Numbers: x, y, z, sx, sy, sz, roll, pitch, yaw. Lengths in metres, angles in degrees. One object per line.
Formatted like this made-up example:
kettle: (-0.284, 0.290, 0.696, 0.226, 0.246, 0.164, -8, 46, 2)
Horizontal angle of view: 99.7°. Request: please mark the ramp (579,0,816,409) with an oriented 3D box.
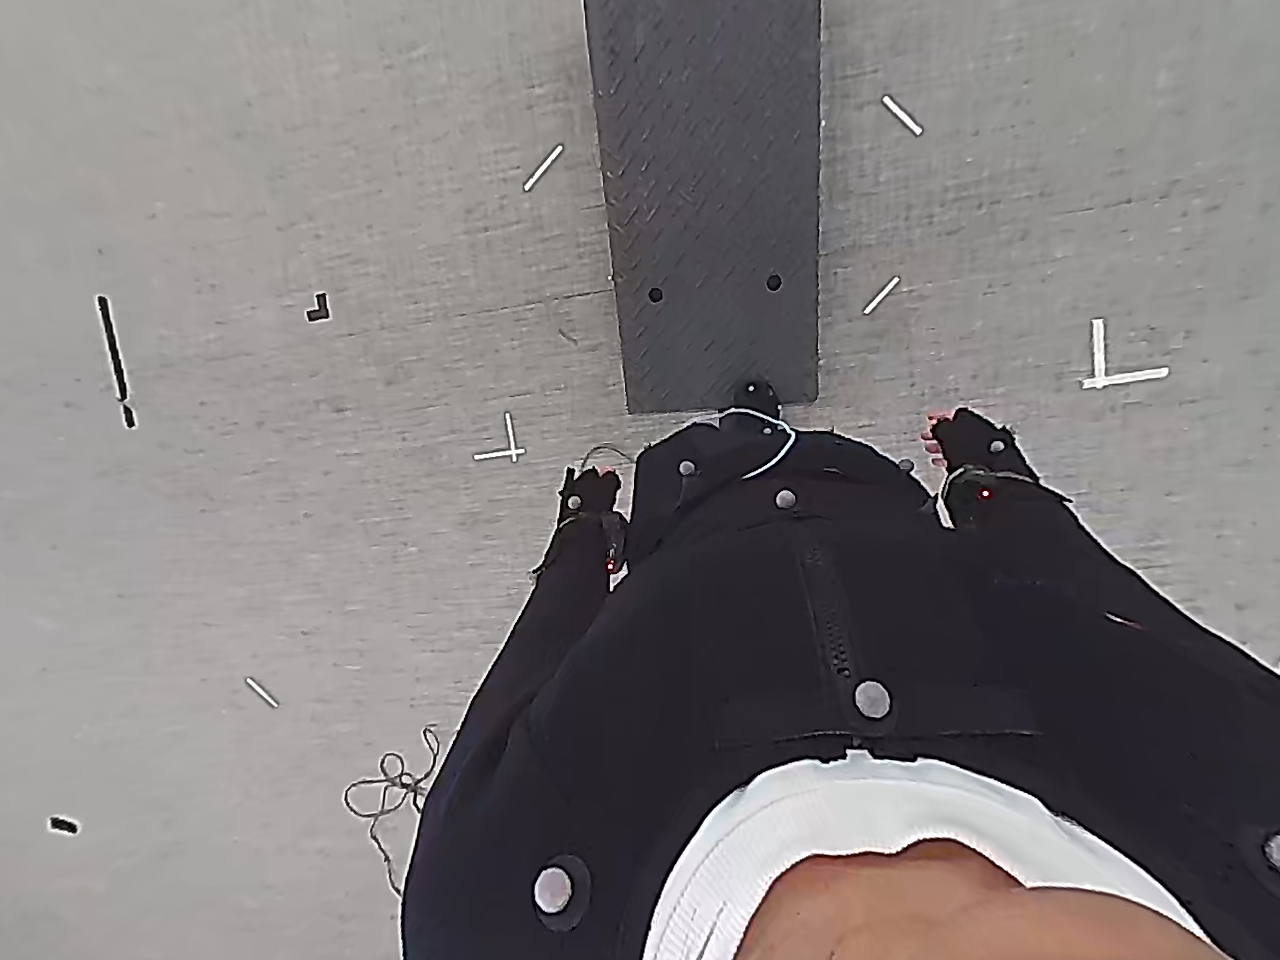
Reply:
ramp: (0.153, -0.668, 1.243, 0.509, 0.206, 0.991, -5, 100, 9)
